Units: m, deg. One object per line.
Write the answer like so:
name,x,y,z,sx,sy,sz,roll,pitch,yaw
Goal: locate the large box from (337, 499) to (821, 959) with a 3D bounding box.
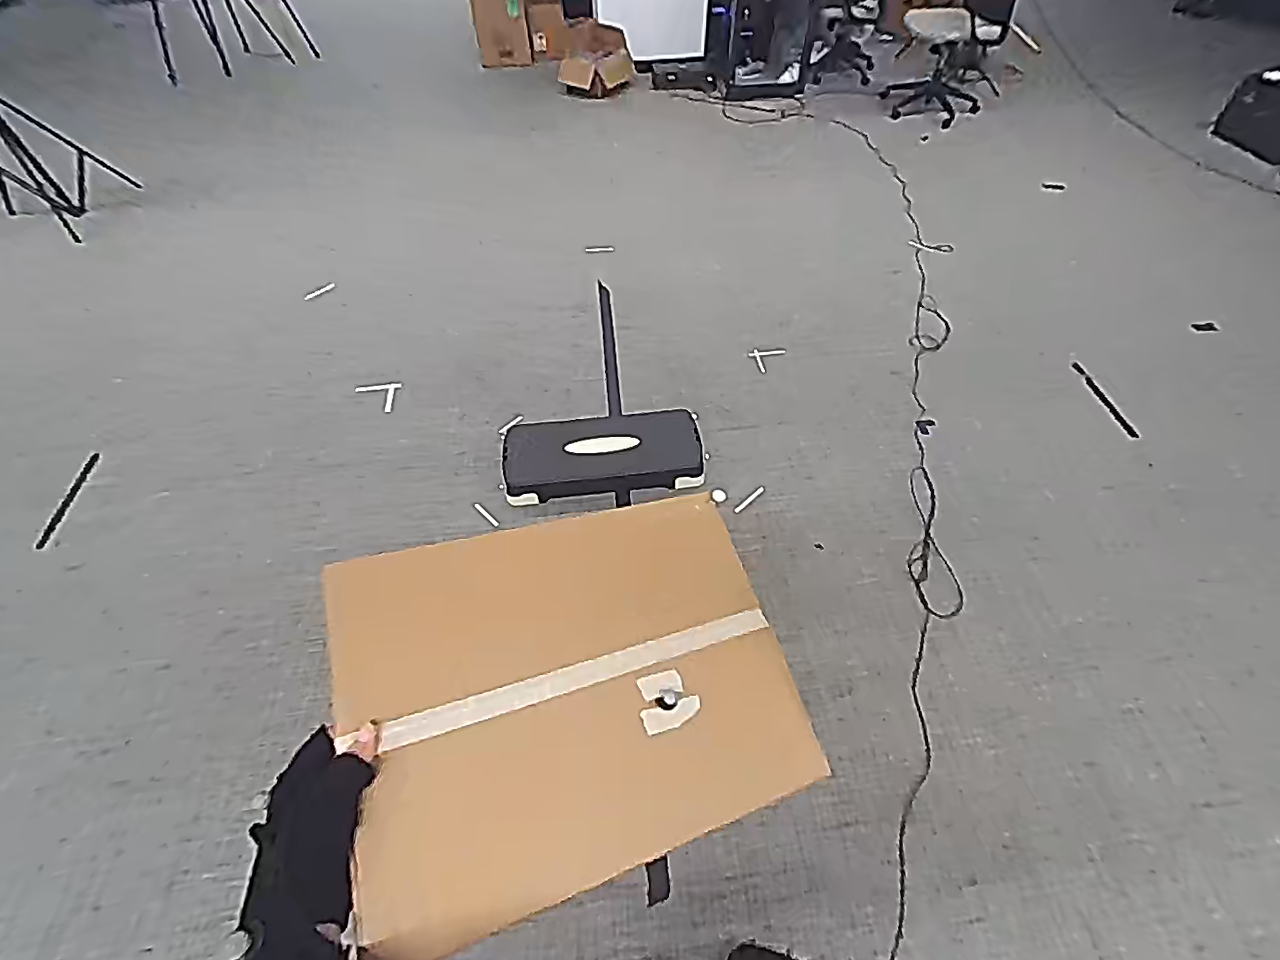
large box,-0.089,0.258,0.631,0.408,0.320,0.320,-10,64,-23
